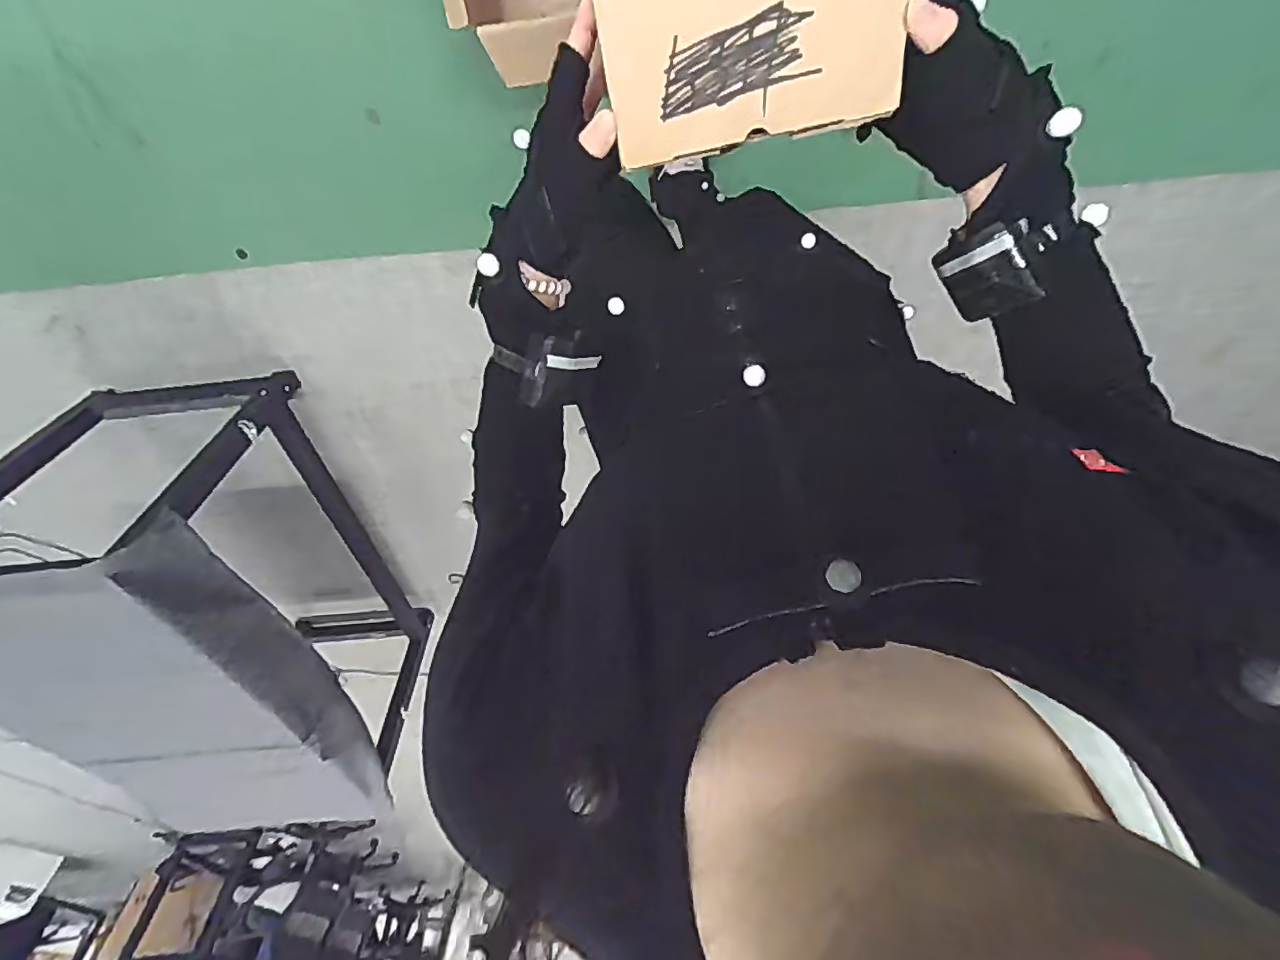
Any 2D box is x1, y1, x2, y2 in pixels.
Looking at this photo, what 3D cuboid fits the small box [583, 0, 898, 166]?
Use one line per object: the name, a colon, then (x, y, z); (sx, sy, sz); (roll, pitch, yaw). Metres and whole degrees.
small box: (0.048, -0.320, 0.329); (0.168, 0.176, 0.179); (-9, 130, 5)
